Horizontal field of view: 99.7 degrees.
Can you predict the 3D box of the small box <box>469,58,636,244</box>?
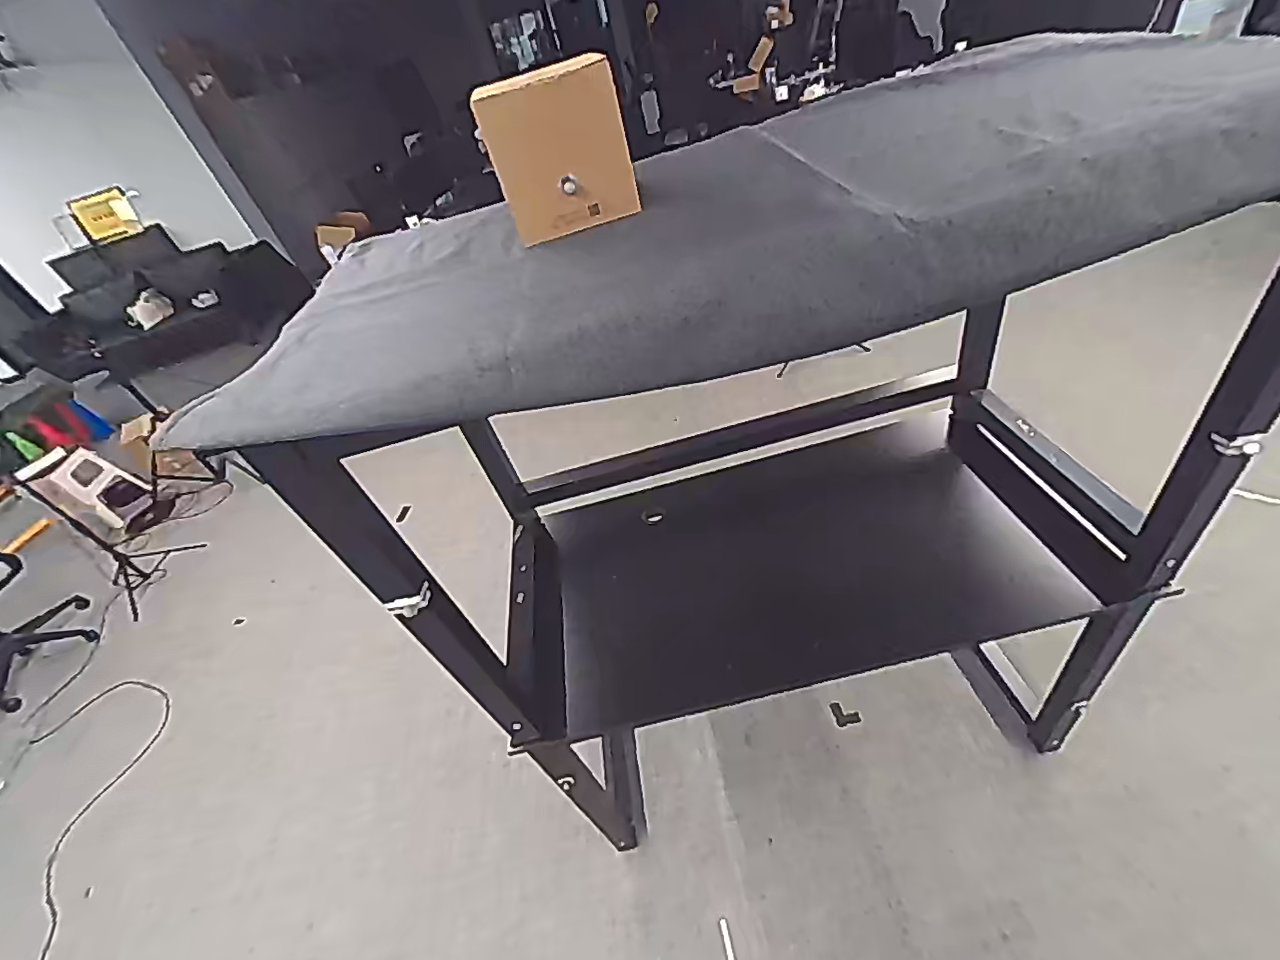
[{"bbox_3d":[-0.112,-0.440,0.727,0.168,0.176,0.179,-17,41,1],"label":"small box"}]
